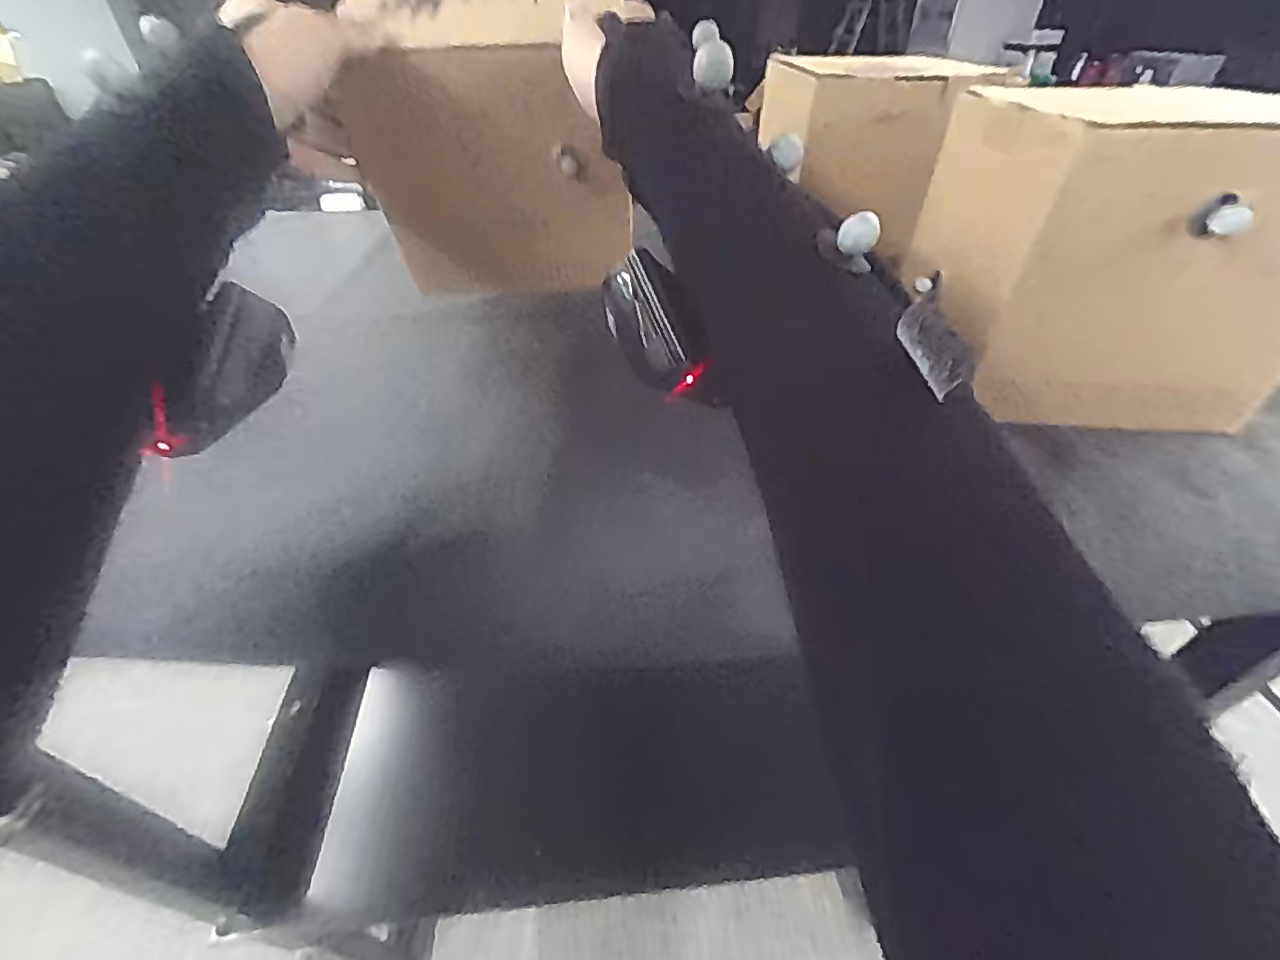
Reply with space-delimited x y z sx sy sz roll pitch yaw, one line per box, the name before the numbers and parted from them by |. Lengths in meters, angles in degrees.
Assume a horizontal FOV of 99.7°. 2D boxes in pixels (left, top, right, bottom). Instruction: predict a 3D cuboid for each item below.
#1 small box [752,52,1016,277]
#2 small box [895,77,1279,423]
small box | 0.215 -0.312 0.539 0.168 0.176 0.179 -2 41 -2
small box | 0.297 -0.150 0.354 0.179 0.176 0.168 3 40 5
